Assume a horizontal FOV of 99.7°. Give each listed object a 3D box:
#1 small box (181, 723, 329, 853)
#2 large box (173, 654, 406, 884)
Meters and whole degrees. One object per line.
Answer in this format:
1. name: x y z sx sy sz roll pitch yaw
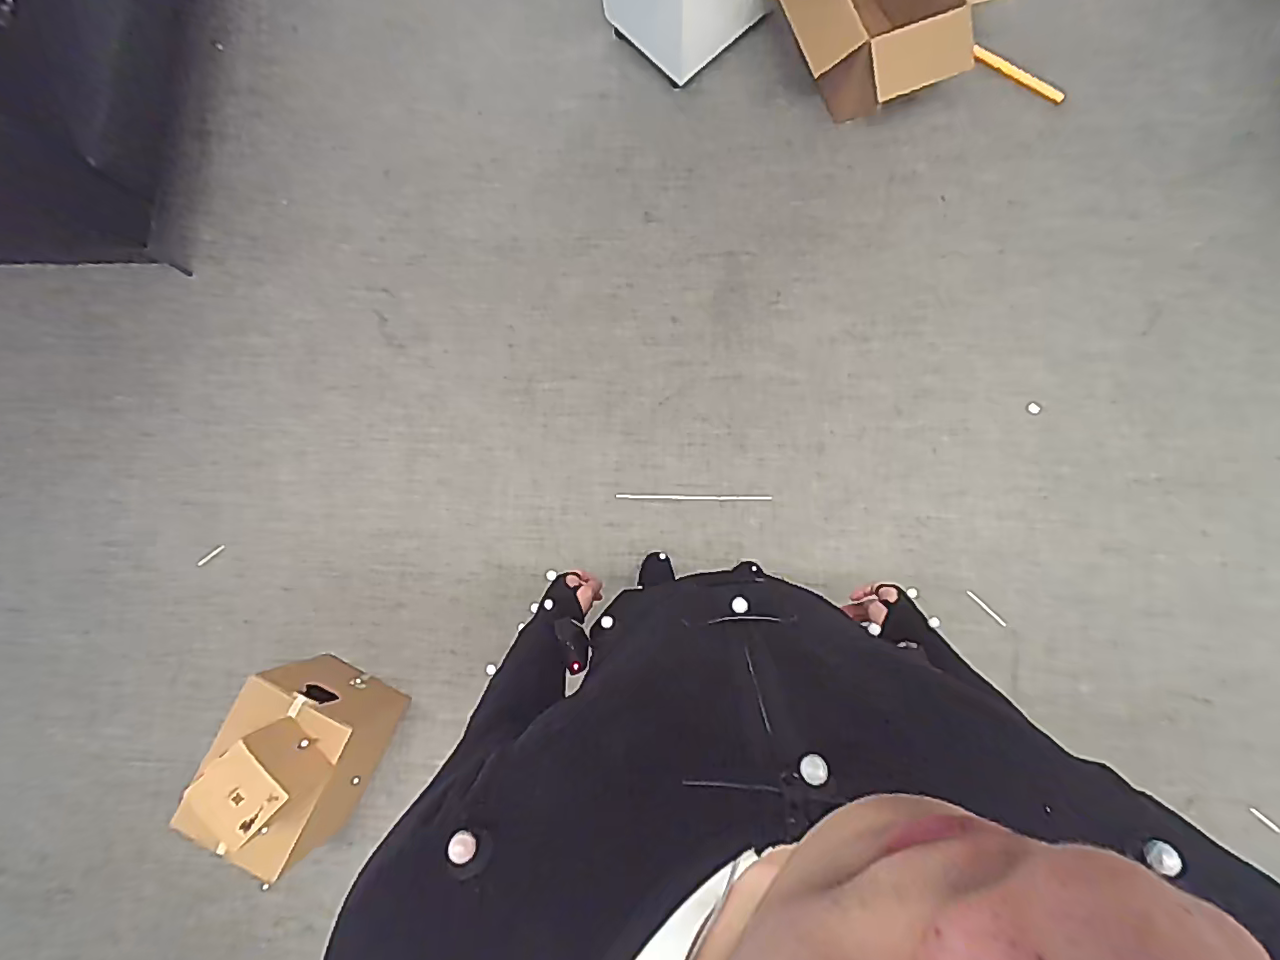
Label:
1. small box: -0.865 0.683 1.231 0.168 0.176 0.179 -45 83 -4
2. large box: -0.920 0.747 1.474 0.320 0.320 0.408 24 84 7
